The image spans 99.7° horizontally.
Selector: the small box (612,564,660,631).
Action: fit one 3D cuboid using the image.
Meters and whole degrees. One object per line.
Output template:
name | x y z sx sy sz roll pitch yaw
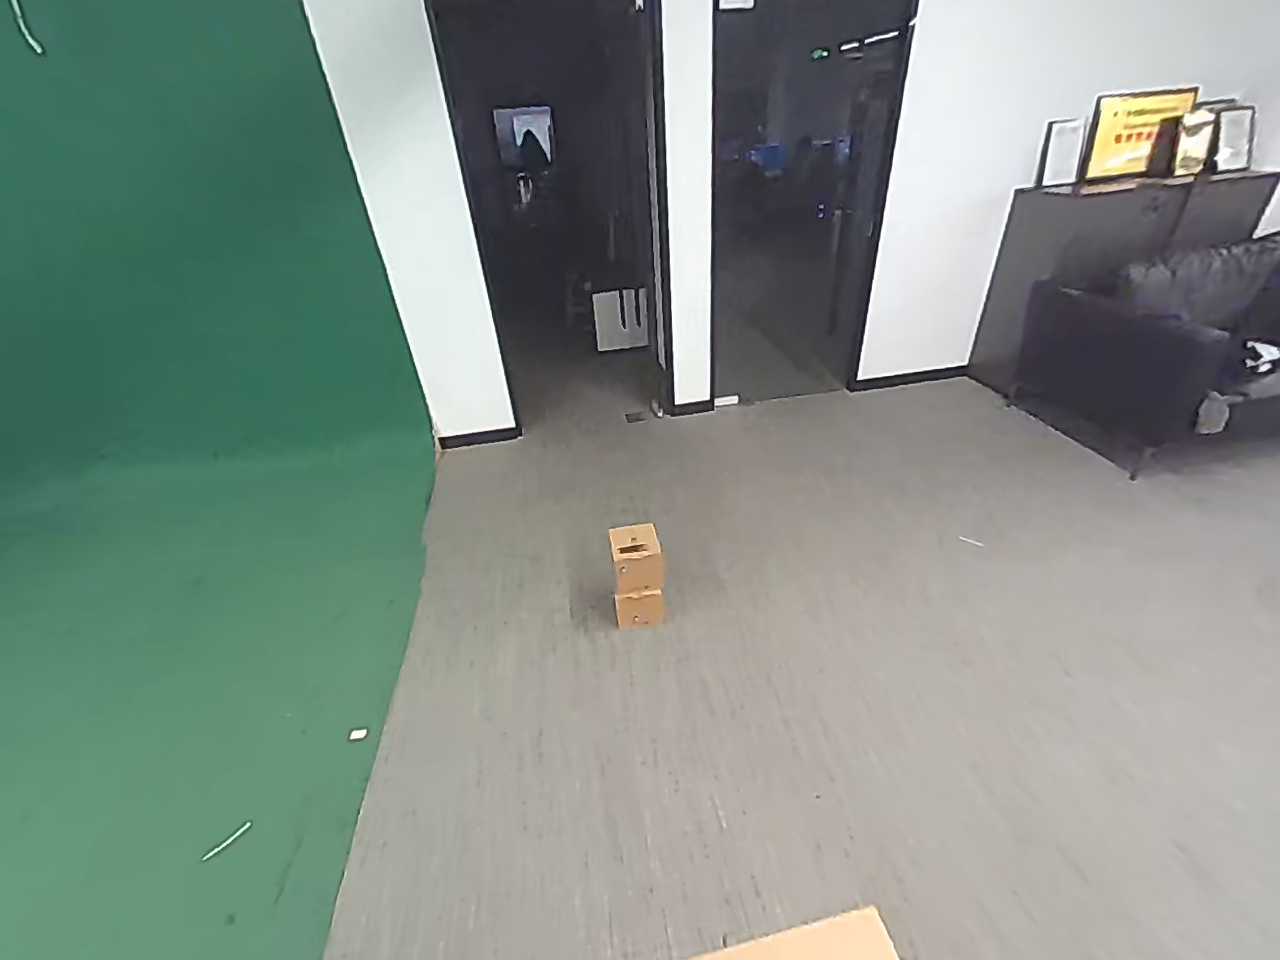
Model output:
small box | -0.016 0.438 2.012 0.168 0.176 0.179 -5 33 -2
